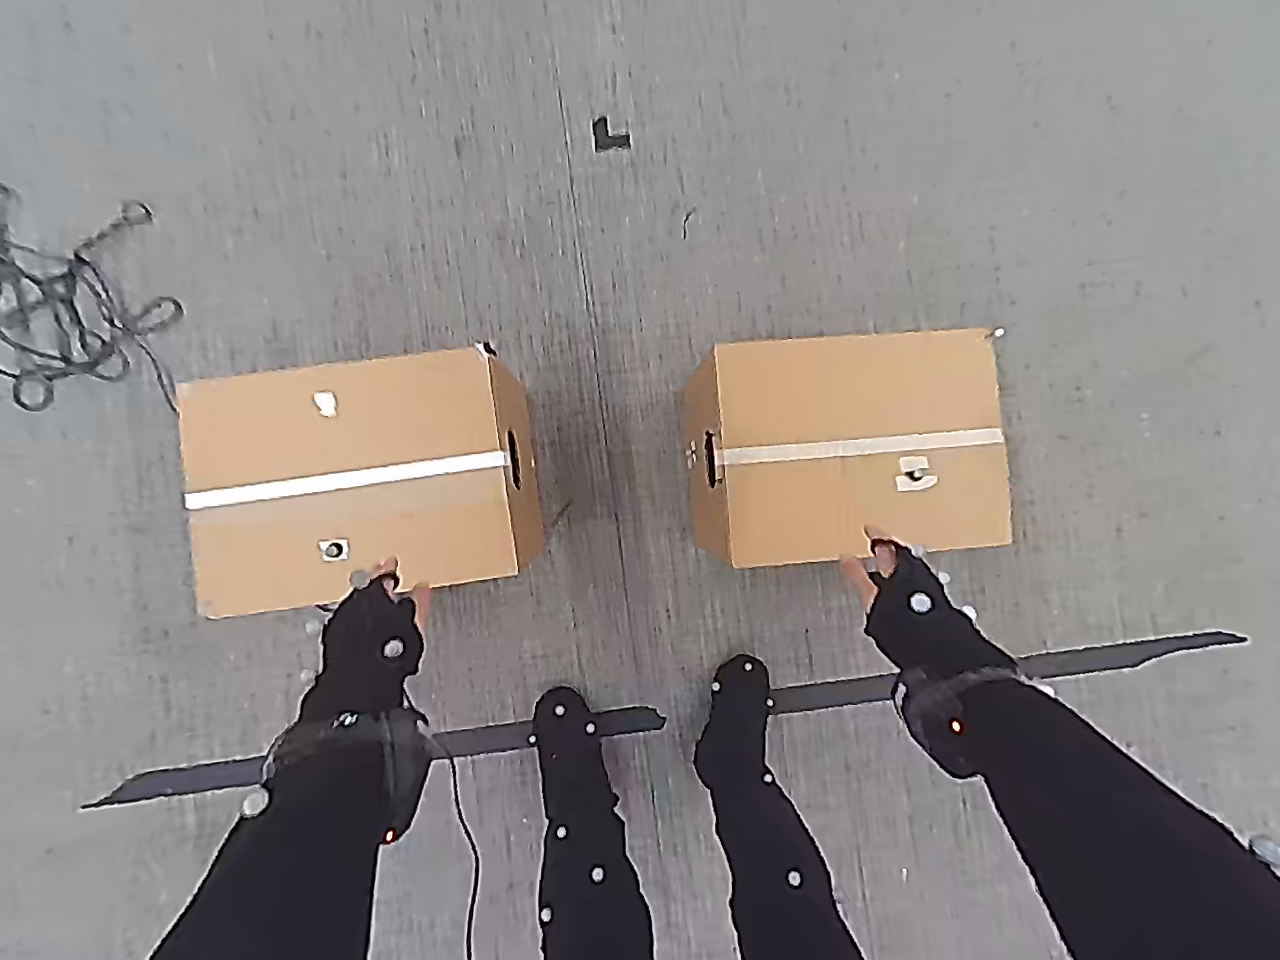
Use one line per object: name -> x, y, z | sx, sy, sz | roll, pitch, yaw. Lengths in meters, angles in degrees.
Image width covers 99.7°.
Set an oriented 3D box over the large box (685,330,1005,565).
large box -> 0.305, -0.045, 0.914 | 0.408, 0.320, 0.320 | -4, 89, -4
